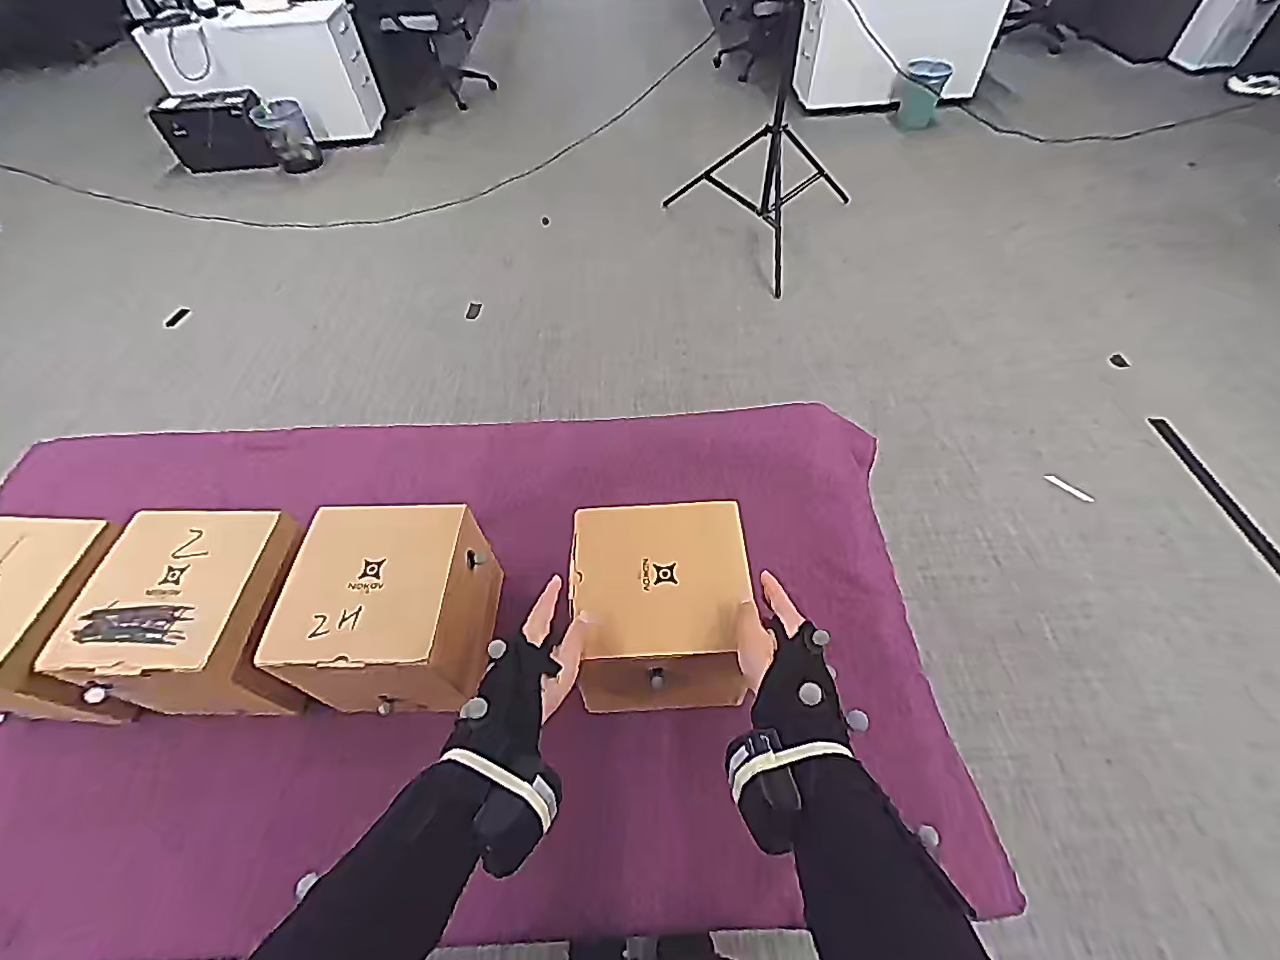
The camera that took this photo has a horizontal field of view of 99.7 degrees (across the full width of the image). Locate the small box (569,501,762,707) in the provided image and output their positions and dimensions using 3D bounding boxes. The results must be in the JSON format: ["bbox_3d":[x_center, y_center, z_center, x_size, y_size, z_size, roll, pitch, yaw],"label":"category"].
[{"bbox_3d":[0.024,0.140,0.593,0.179,0.176,0.168,-4,52,1],"label":"small box"}]
